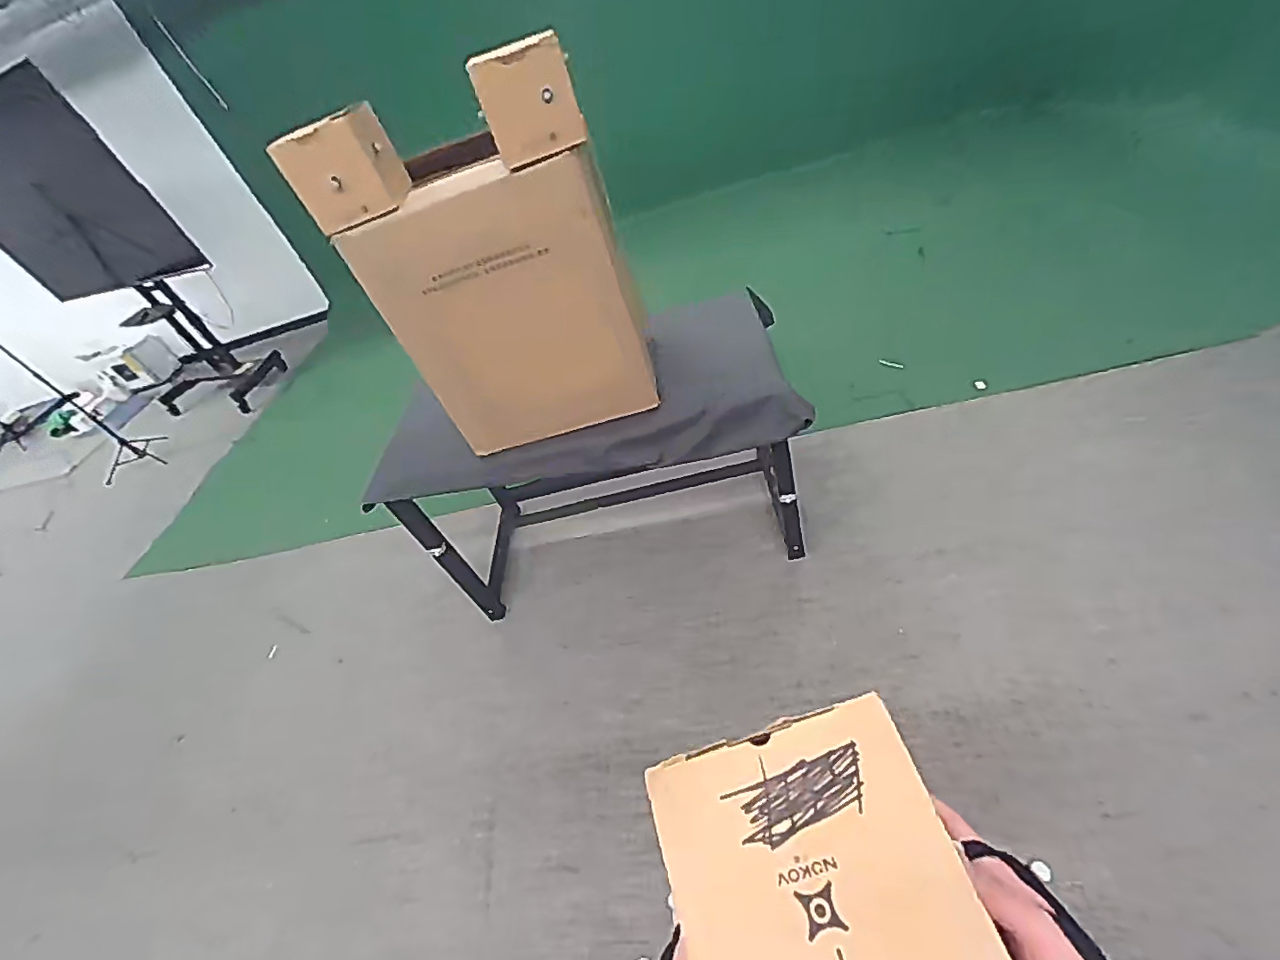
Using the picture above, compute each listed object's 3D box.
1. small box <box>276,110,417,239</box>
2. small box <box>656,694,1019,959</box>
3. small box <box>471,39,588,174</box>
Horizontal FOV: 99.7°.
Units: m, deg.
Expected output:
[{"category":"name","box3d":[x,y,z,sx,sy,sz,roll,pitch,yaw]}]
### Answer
[{"category":"small box","box3d":[-0.587,-0.620,1.110,0.168,0.176,0.179,-18,42,7]},{"category":"small box","box3d":[0.126,0.273,0.375,0.168,0.176,0.179,-21,57,5]},{"category":"small box","box3d":[-0.207,-0.713,1.039,0.168,0.176,0.179,-18,41,3]}]
